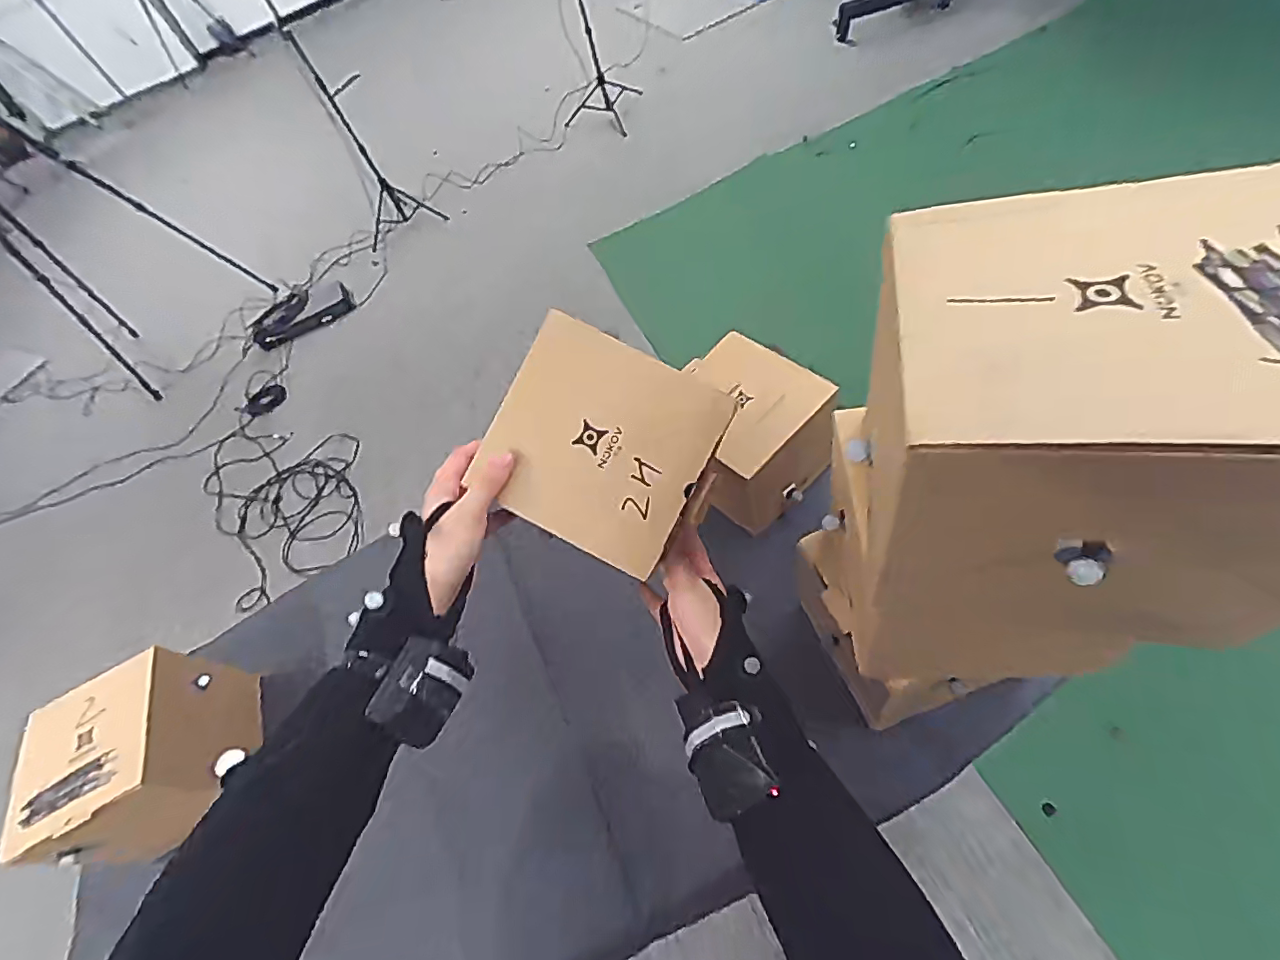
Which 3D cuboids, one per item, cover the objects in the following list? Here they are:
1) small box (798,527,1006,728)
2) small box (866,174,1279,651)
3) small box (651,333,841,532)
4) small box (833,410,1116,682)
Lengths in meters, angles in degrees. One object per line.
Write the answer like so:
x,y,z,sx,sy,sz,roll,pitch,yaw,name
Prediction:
0.286,0.135,0.563,0.179,0.176,0.168,-24,52,1,small box
0.219,-0.023,0.280,0.179,0.176,0.168,2,56,19,small box
0.145,-0.058,0.734,0.168,0.176,0.179,-45,59,-11,small box
0.254,0.053,0.425,0.179,0.176,0.168,-6,54,13,small box
